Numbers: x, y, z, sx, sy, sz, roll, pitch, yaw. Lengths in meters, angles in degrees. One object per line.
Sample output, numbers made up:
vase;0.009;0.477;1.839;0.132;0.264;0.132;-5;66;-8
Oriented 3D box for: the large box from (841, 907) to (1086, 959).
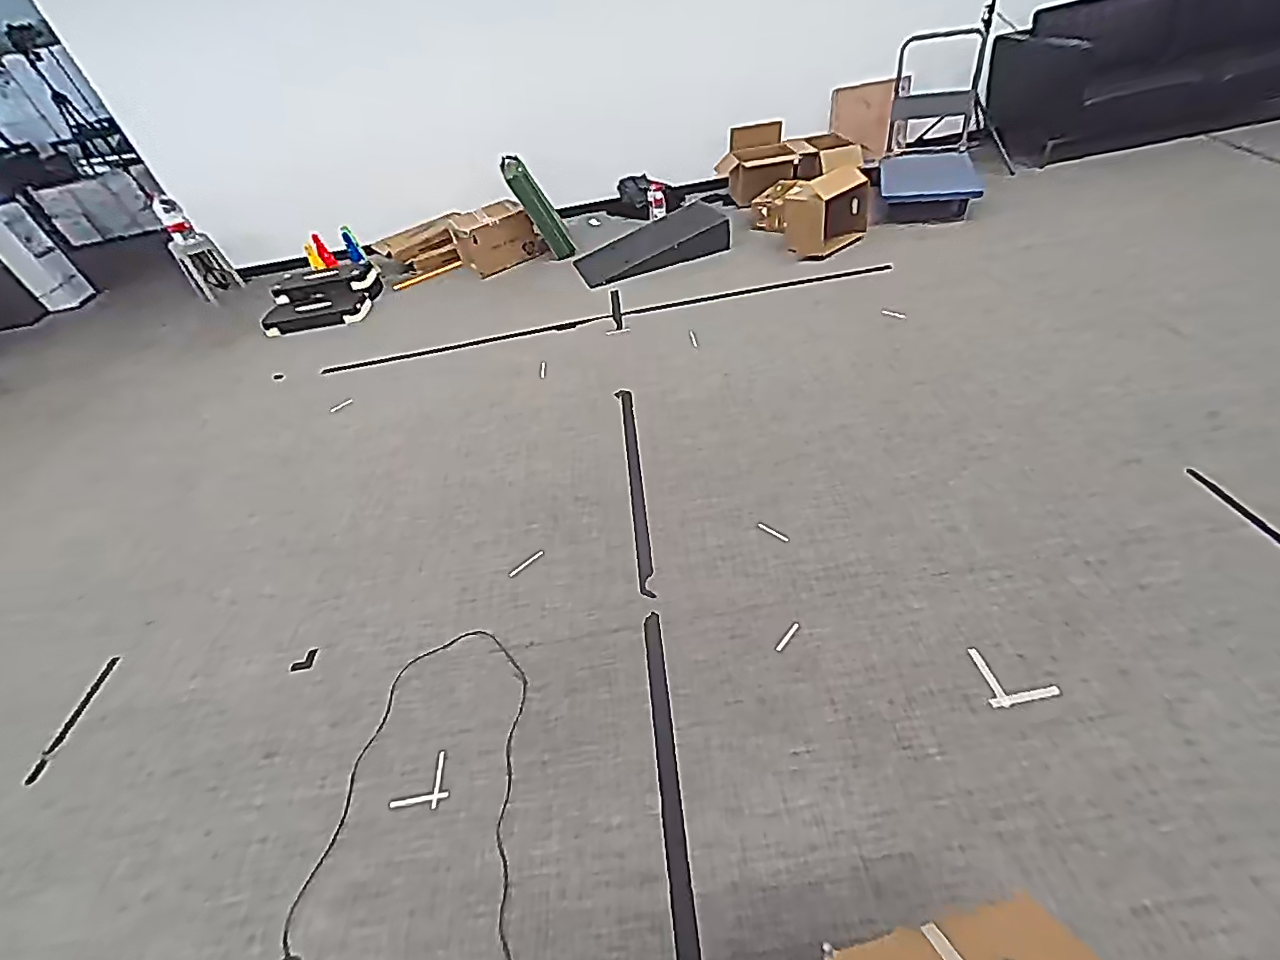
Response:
large box;0.447;0.764;0.557;0.320;0.408;0.320;-14;80;-1
